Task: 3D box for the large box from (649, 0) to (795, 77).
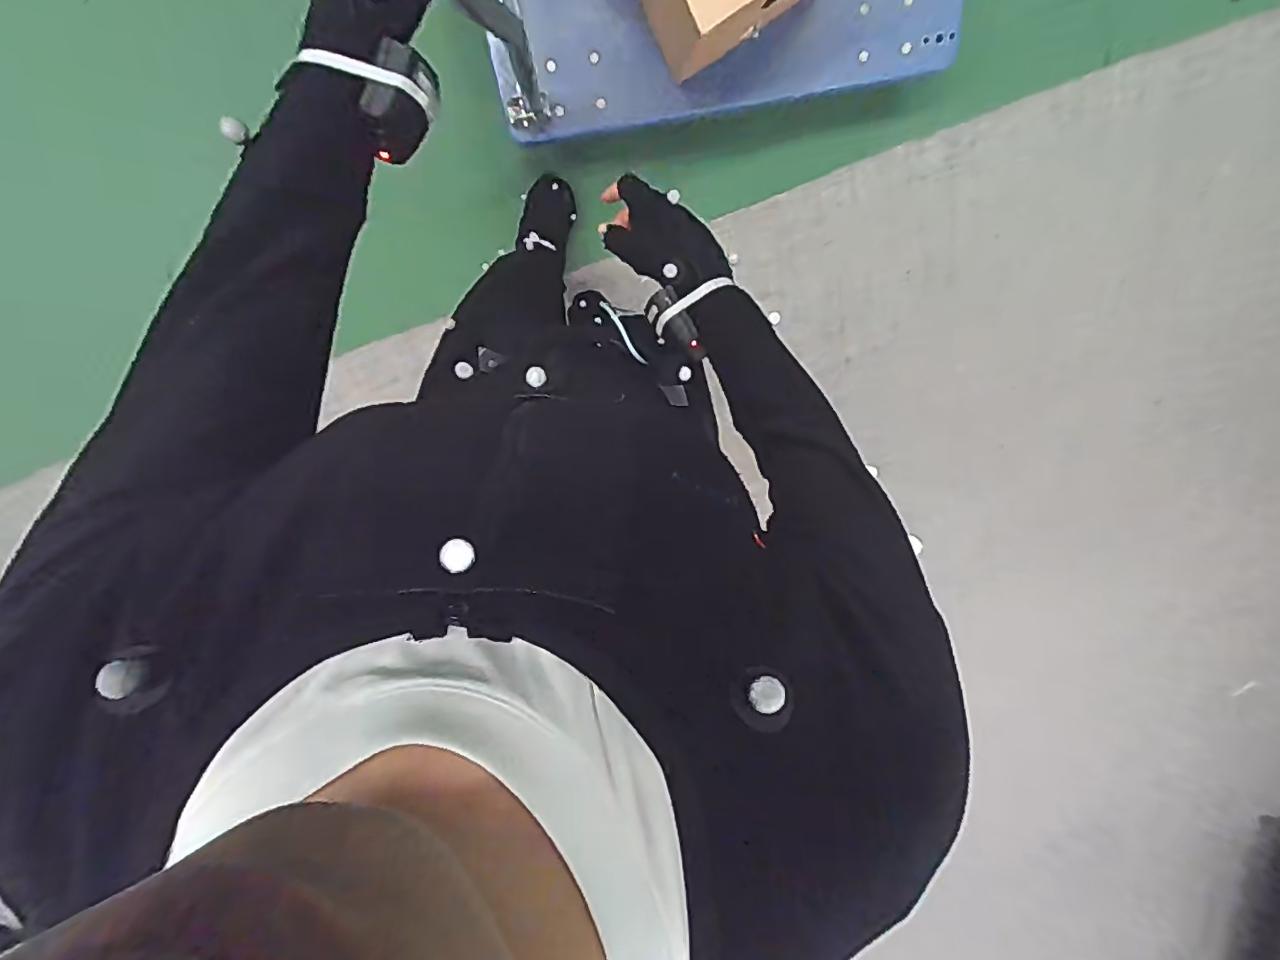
[{"bbox_3d":[0.115,-0.907,0.775,0.320,0.320,0.408,-29,113,11],"label":"large box"}]
